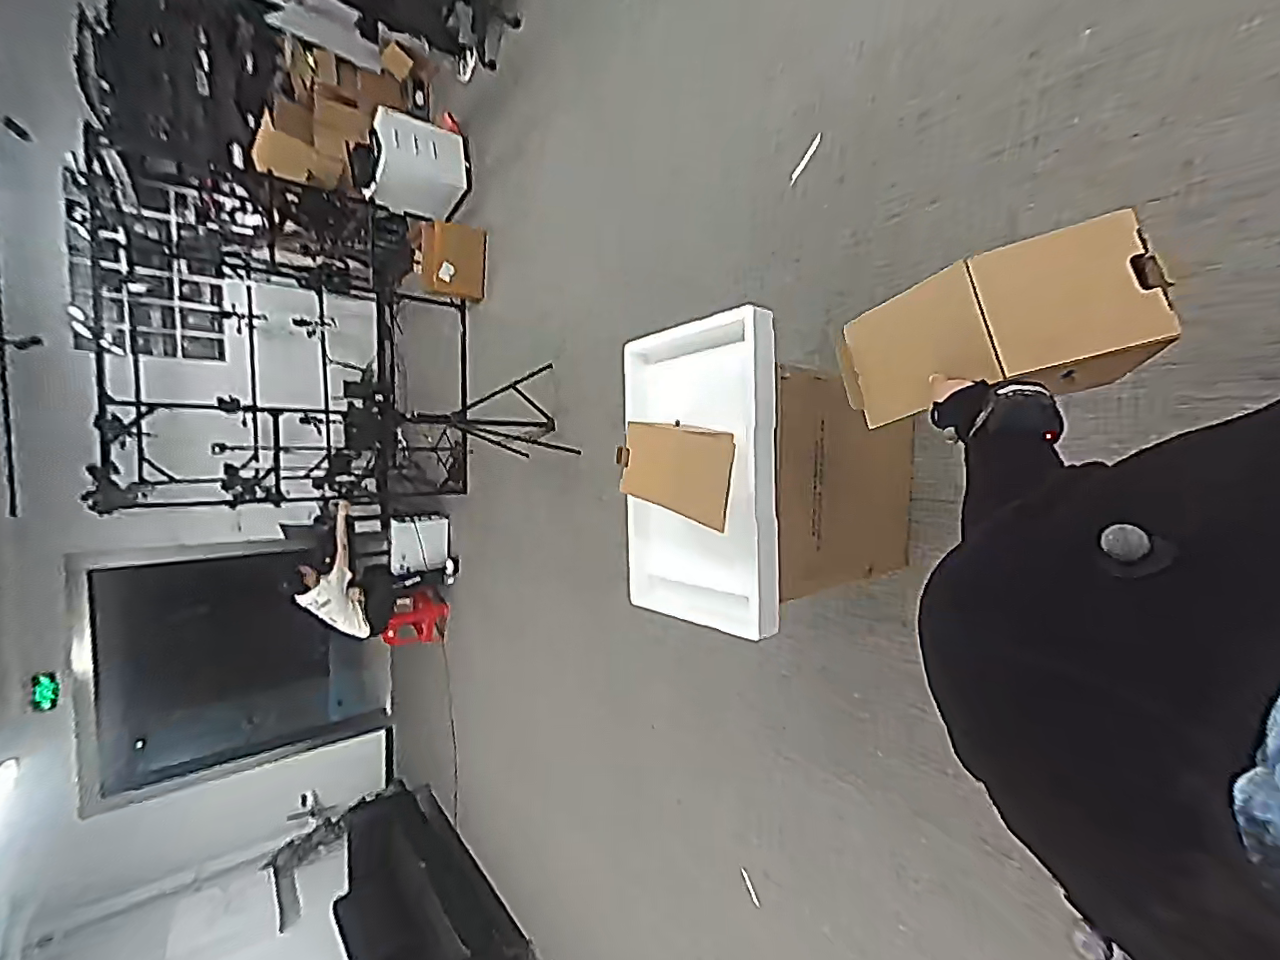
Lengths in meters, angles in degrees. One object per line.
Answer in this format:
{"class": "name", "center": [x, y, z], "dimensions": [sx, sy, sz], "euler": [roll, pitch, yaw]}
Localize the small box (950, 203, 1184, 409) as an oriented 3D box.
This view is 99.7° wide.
{"class": "small box", "center": [0.515, -0.203, 0.690], "dimensions": [0.179, 0.176, 0.168], "euler": [-14, 77, 19]}
